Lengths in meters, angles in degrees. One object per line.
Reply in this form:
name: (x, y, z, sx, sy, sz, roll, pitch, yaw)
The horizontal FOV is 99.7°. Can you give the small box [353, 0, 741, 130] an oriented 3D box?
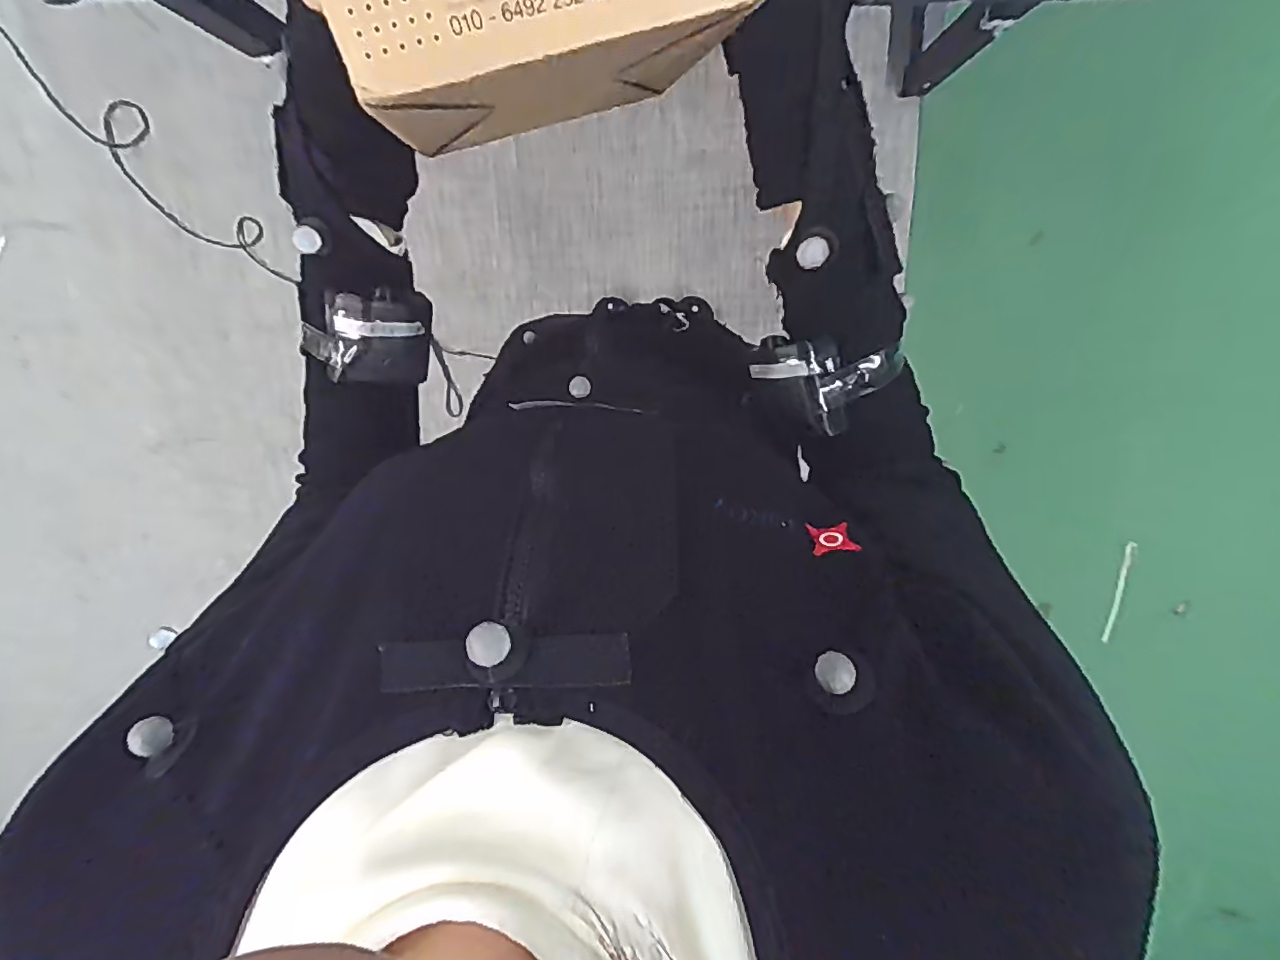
small box: (-0.061, -0.285, 0.254, 0.168, 0.179, 0.176, -18, 119, -3)
